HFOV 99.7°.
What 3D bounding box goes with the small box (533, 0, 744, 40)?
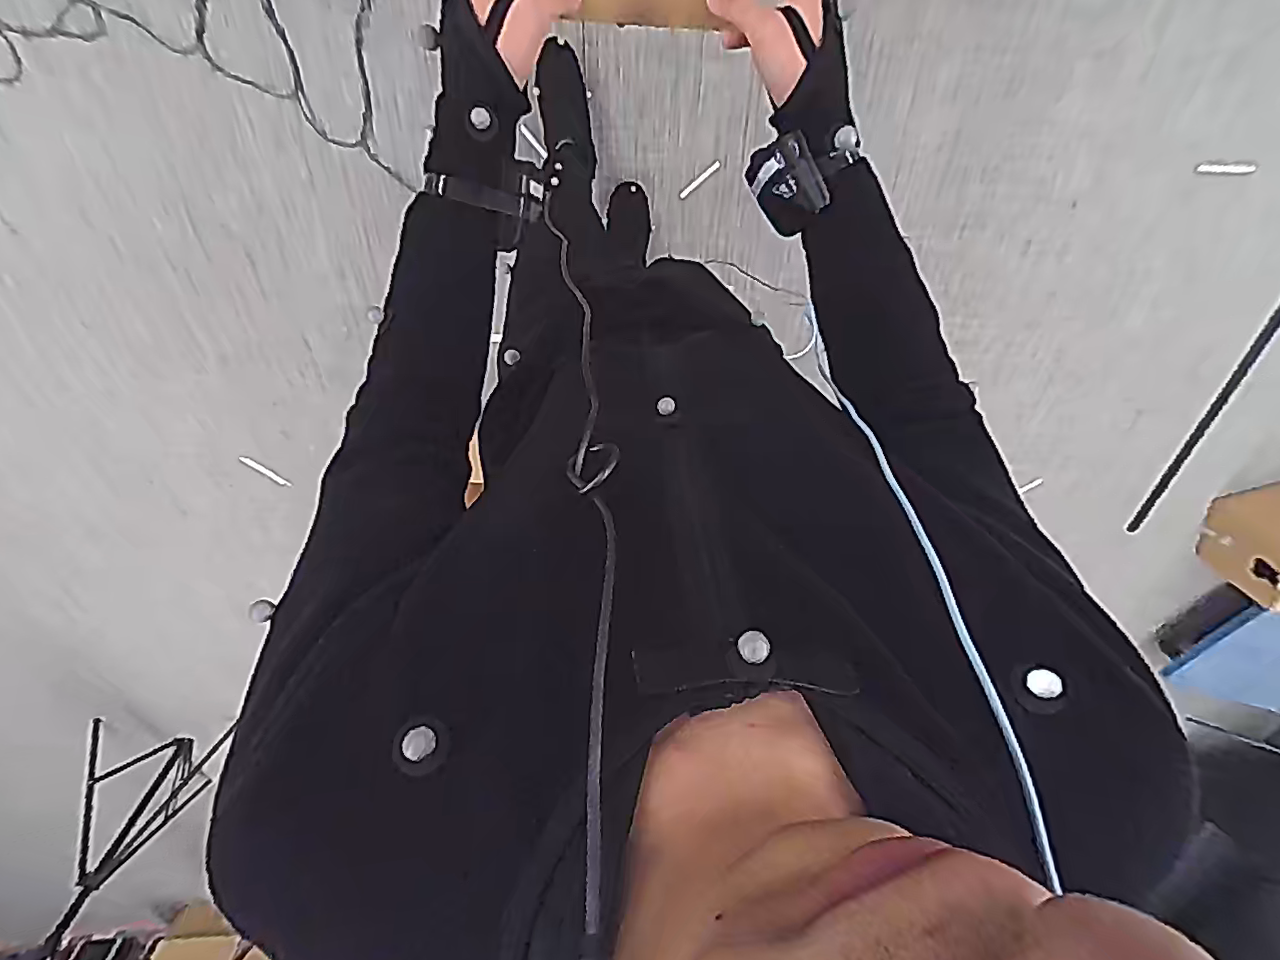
[{"bbox_3d":[-0.002,-0.473,0.414,0.168,0.176,0.179,-3,139,-9],"label":"small box"}]
